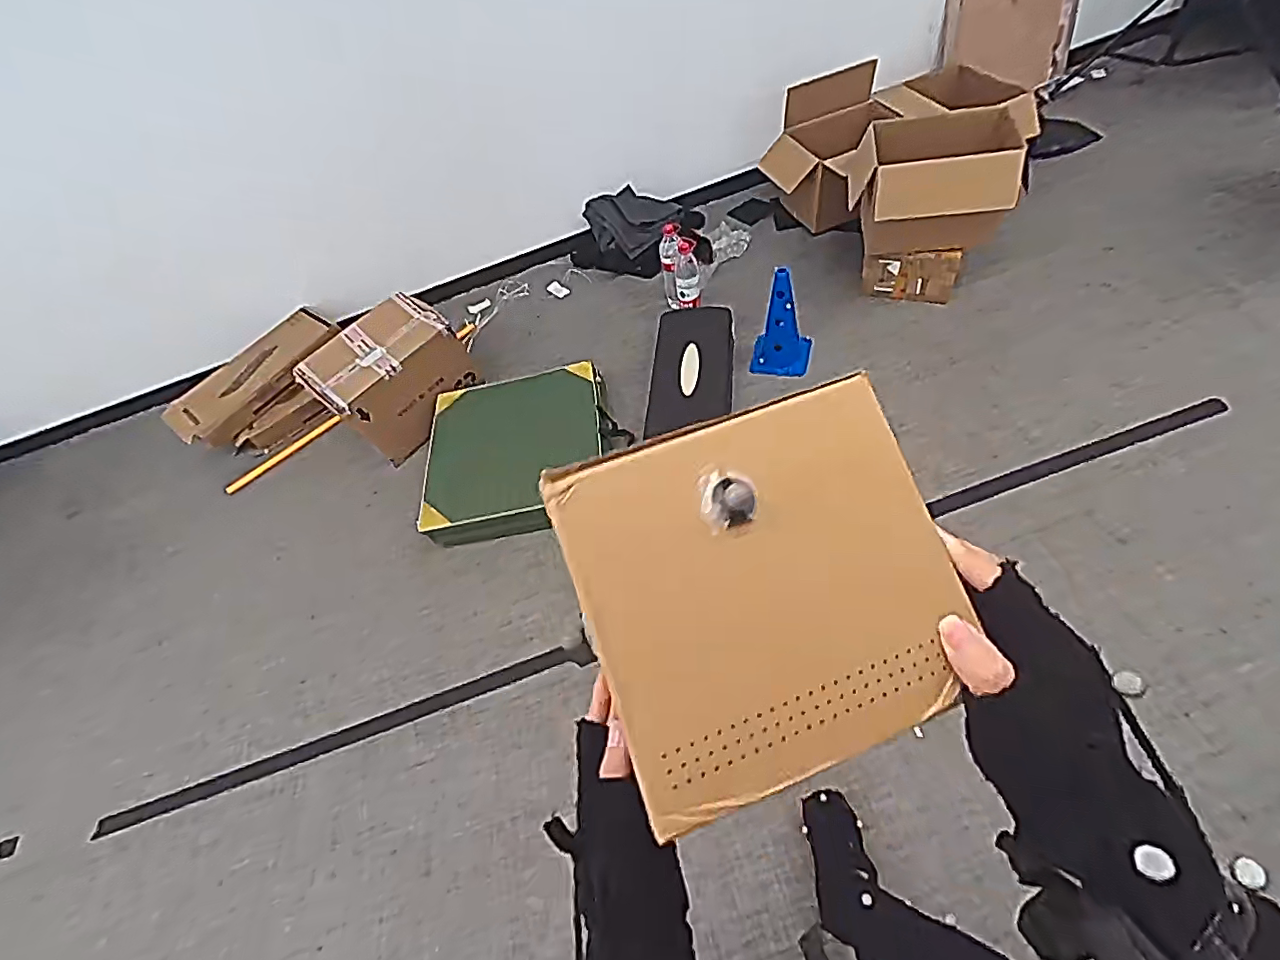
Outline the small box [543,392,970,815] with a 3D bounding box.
[{"bbox_3d":[0.057,0.073,0.344,0.179,0.168,0.176,-20,81,-7],"label":"small box"}]
